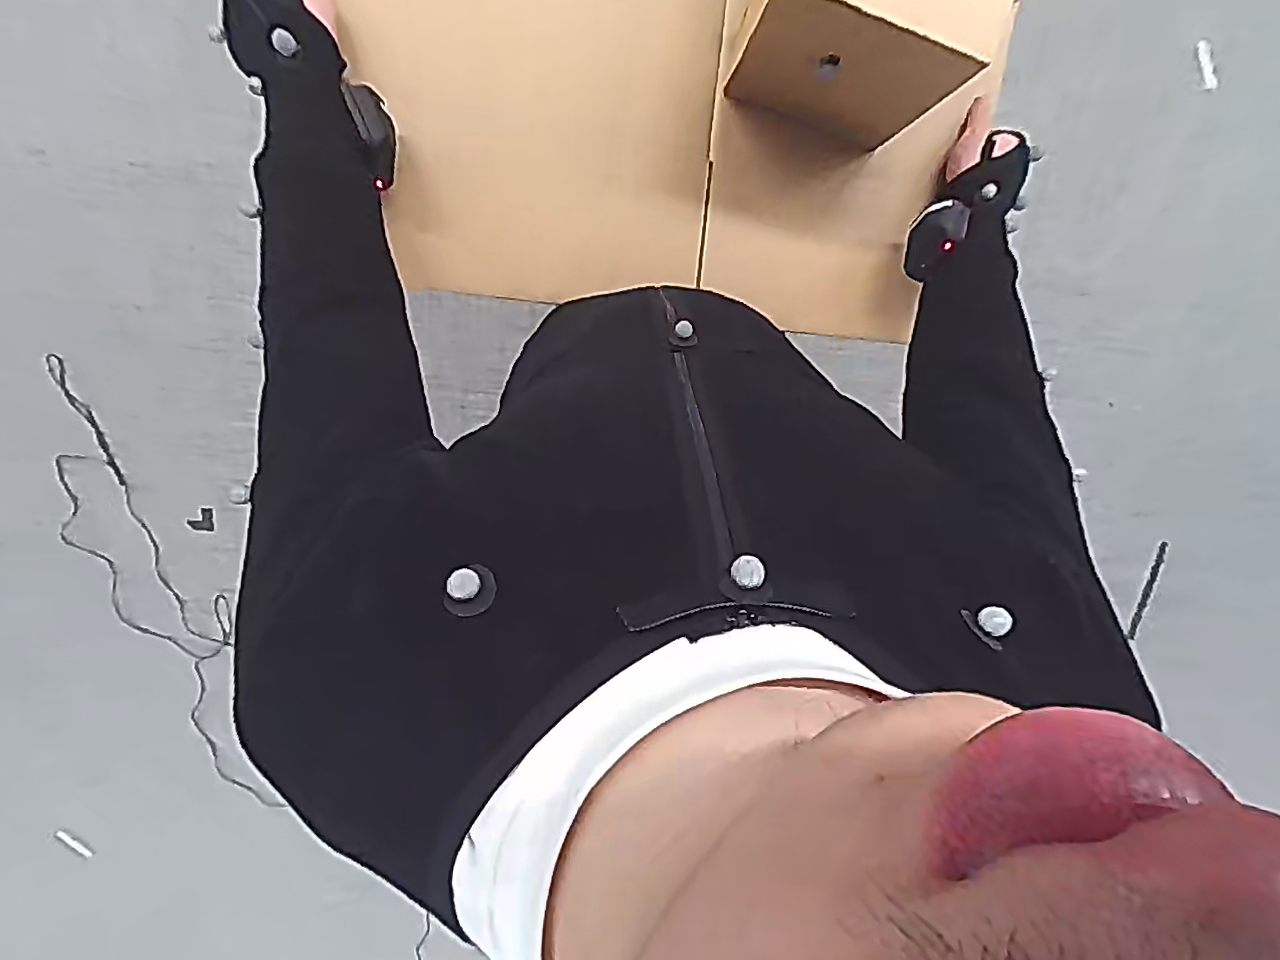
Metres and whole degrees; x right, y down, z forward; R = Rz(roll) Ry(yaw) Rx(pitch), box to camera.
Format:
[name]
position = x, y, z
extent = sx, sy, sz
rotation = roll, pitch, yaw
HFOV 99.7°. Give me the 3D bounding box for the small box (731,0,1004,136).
[small box]
position = 0.195, -0.434, 0.466
extent = 0.179, 0.176, 0.168
rotation = 14, 101, -7
